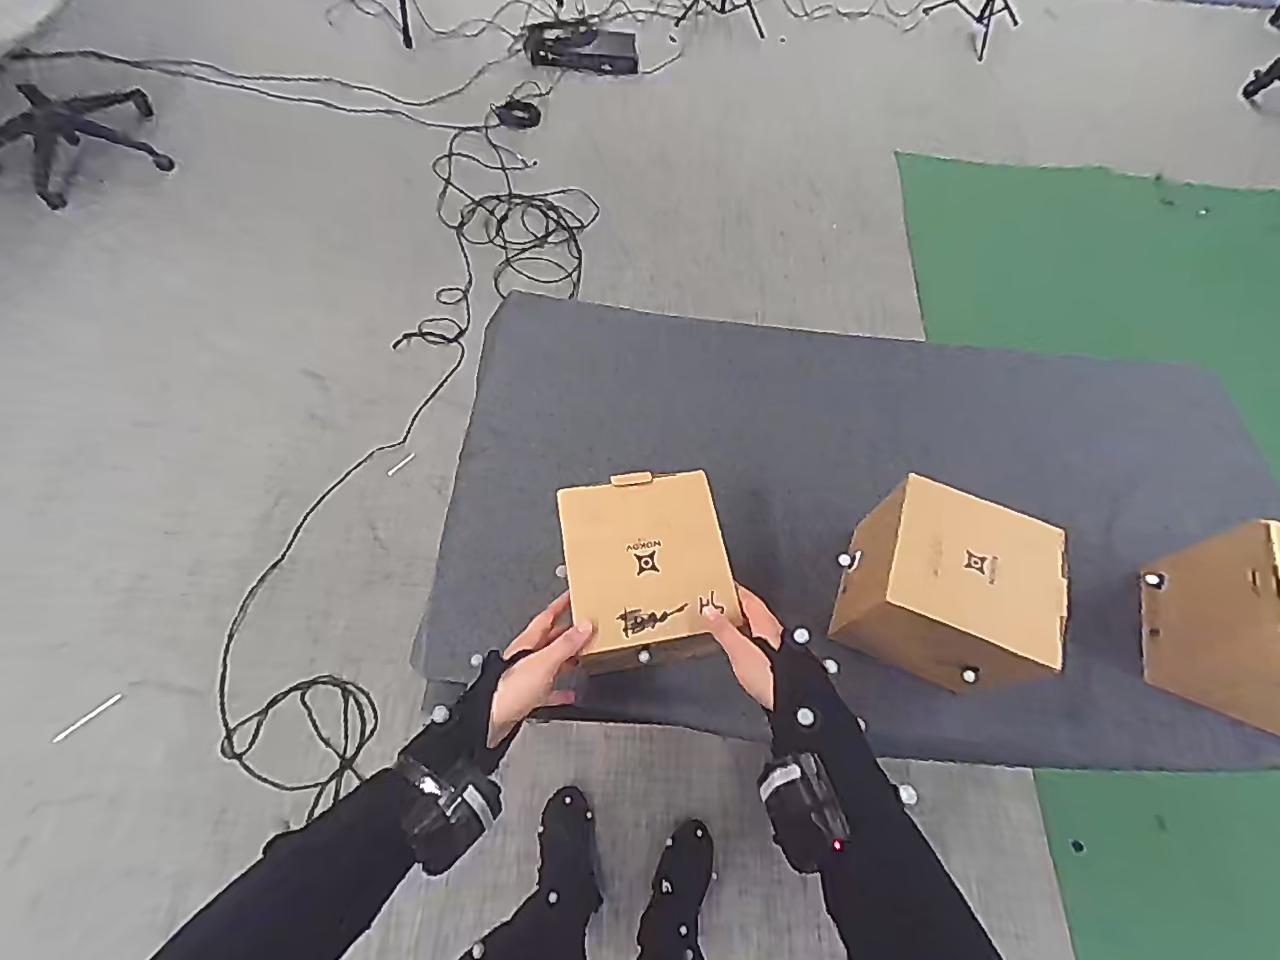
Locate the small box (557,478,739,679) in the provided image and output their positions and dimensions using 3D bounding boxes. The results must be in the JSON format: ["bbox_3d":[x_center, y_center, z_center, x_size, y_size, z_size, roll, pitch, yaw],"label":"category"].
[{"bbox_3d":[-0.002,0.119,0.623,0.168,0.176,0.179,-8,66,-7],"label":"small box"}]

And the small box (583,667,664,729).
[{"bbox_3d":[-0.034,0.477,1.259,0.168,0.176,0.179,7,63,1],"label":"small box"}]

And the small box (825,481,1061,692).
[{"bbox_3d":[0.345,0.133,0.634,0.179,0.176,0.168,21,61,8],"label":"small box"}]

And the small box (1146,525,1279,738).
[{"bbox_3d":[0.738,0.183,0.625,0.179,0.176,0.168,22,62,9],"label":"small box"}]
